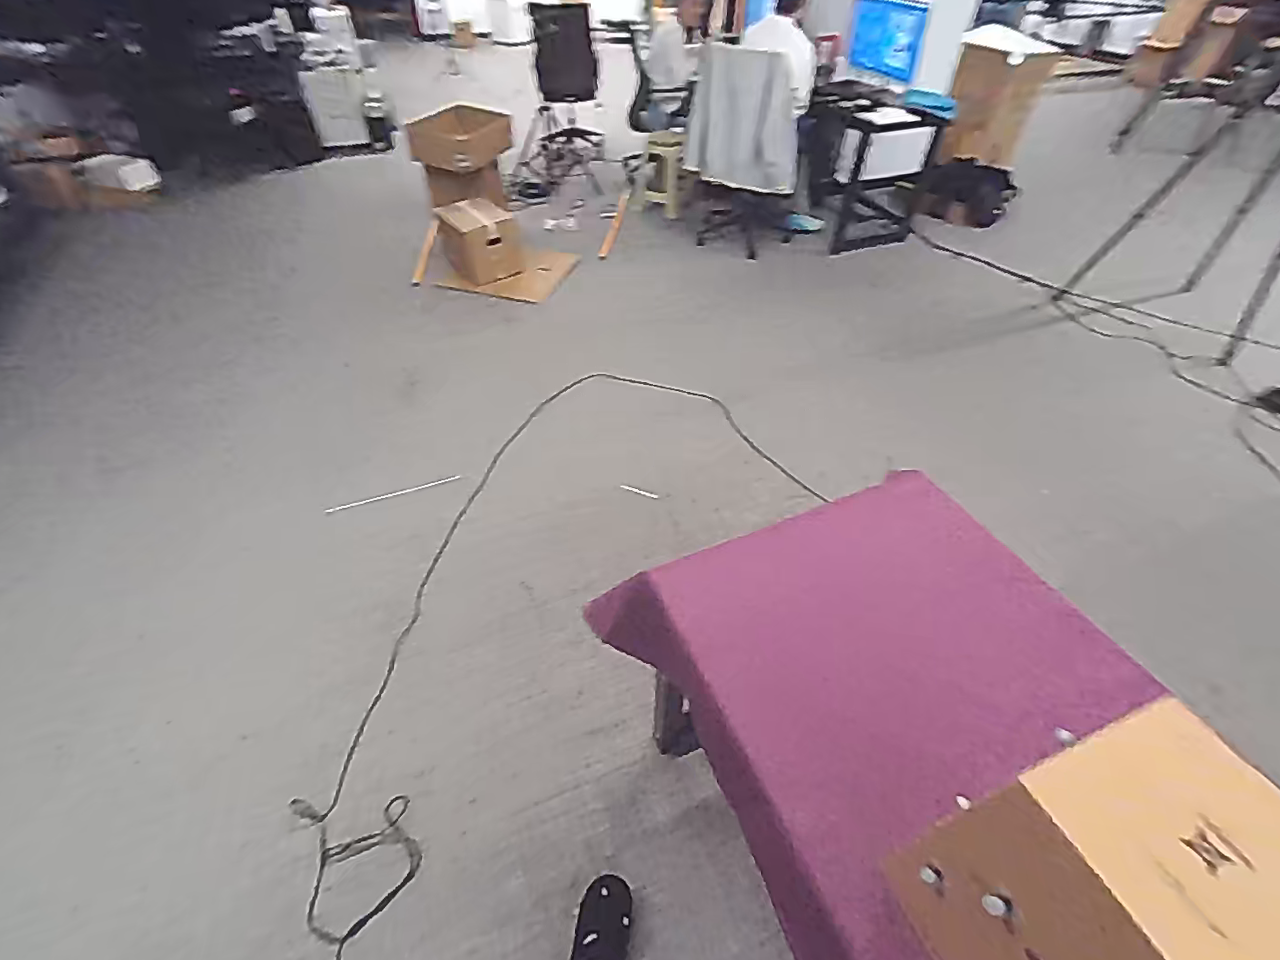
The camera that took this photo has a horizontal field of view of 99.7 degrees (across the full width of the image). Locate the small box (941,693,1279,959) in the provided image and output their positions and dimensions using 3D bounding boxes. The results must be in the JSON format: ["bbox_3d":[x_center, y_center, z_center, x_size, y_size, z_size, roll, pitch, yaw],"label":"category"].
[{"bbox_3d":[0.388,0.305,0.431,0.179,0.176,0.168,-15,47,-15],"label":"small box"}]
